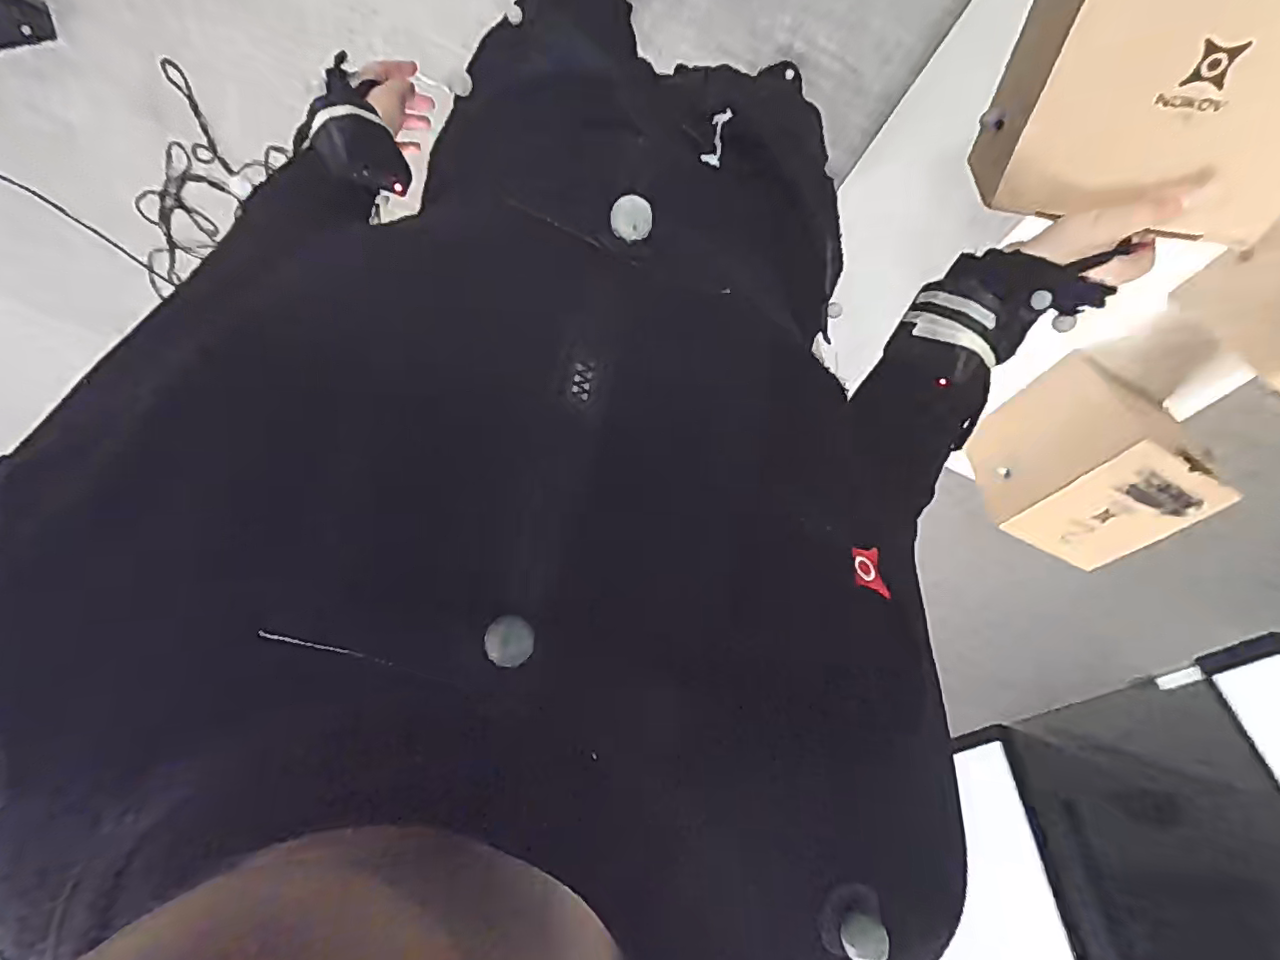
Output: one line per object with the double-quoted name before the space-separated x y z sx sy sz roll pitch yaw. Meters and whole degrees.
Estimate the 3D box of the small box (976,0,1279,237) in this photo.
"small box" 0.354 -0.291 0.369 0.168 0.176 0.179 14 133 13

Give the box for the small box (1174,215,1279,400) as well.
"small box" 0.694 -0.161 0.519 0.179 0.176 0.168 23 135 -13
